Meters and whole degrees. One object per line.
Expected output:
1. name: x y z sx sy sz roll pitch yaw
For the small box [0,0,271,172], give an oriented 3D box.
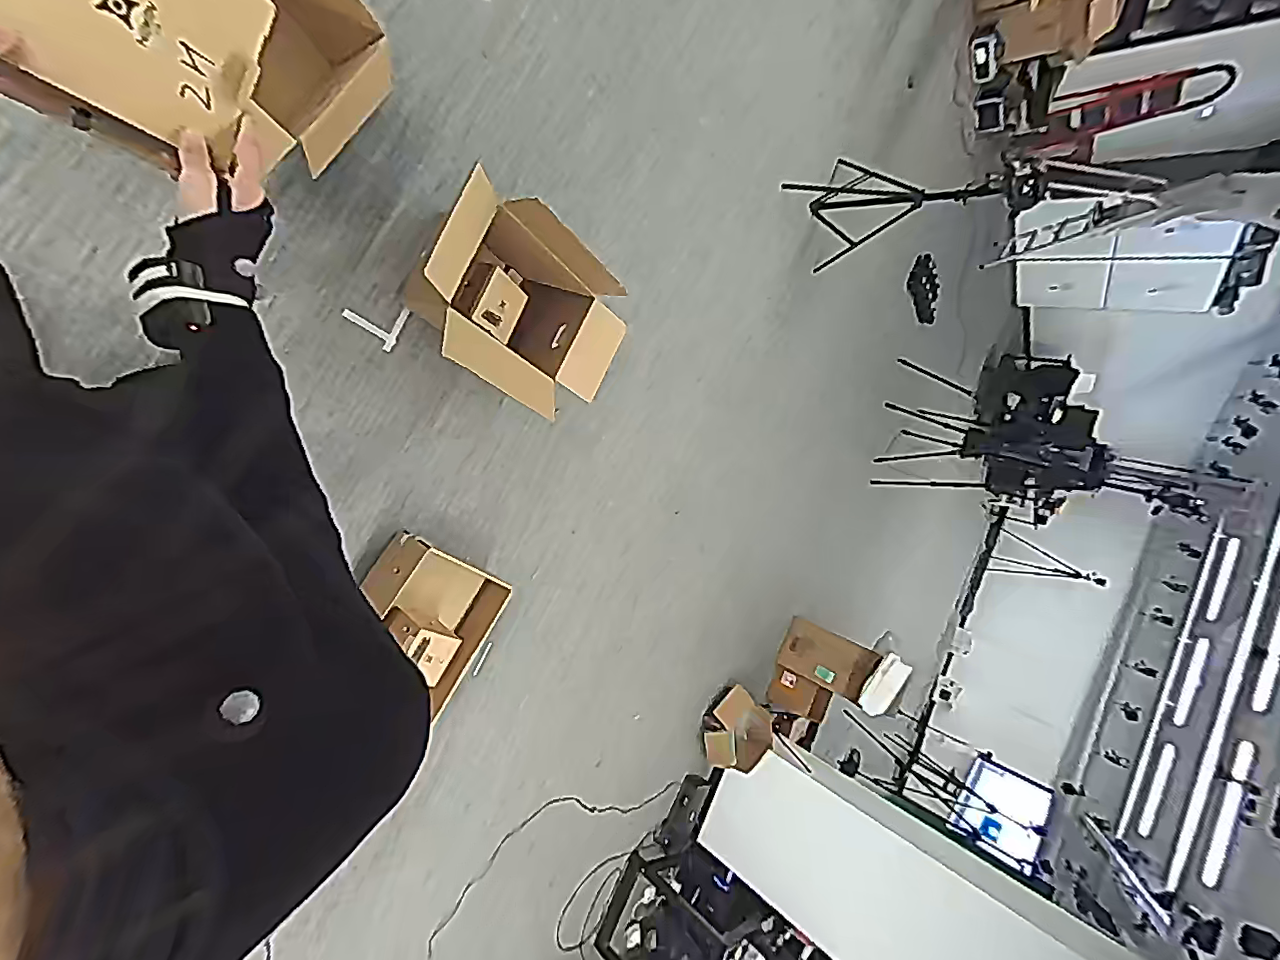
1. small box: -0.479 -0.408 0.493 0.179 0.176 0.168 14 96 -50
